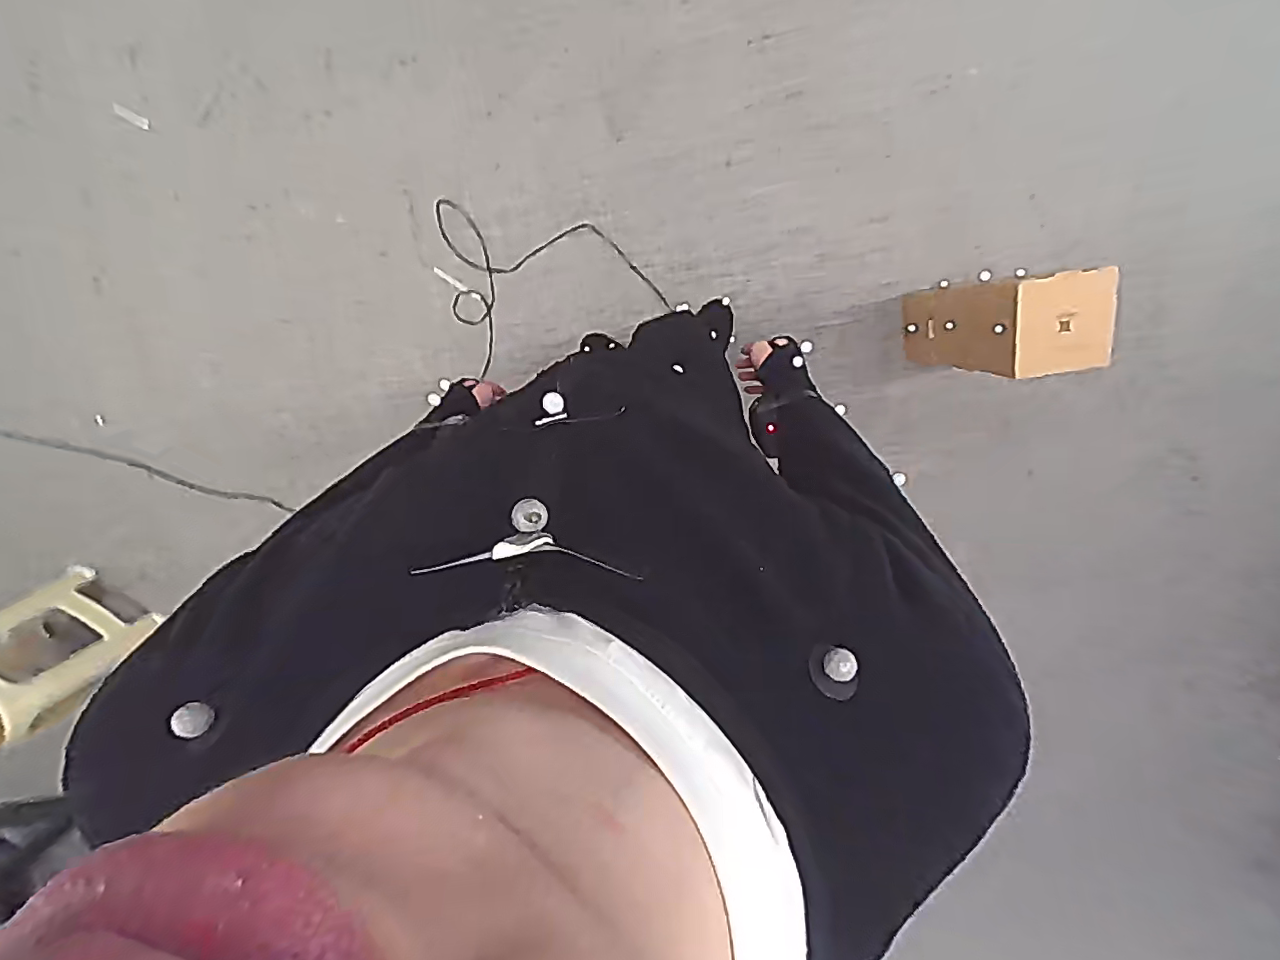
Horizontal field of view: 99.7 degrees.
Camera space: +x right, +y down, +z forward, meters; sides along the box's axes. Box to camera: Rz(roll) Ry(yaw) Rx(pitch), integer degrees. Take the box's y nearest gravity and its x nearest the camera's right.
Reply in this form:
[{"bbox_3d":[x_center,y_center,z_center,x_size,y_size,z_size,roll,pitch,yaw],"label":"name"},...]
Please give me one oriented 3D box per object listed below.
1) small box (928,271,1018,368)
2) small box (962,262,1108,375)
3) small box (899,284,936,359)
[{"bbox_3d":[0.760,-0.360,1.199,0.168,0.176,0.179,-10,108,5],"label":"small box"},{"bbox_3d":[0.748,-0.312,1.045,0.168,0.176,0.179,-9,109,6],"label":"small box"},{"bbox_3d":[0.768,-0.406,1.357,0.179,0.176,0.168,-9,109,5],"label":"small box"}]
